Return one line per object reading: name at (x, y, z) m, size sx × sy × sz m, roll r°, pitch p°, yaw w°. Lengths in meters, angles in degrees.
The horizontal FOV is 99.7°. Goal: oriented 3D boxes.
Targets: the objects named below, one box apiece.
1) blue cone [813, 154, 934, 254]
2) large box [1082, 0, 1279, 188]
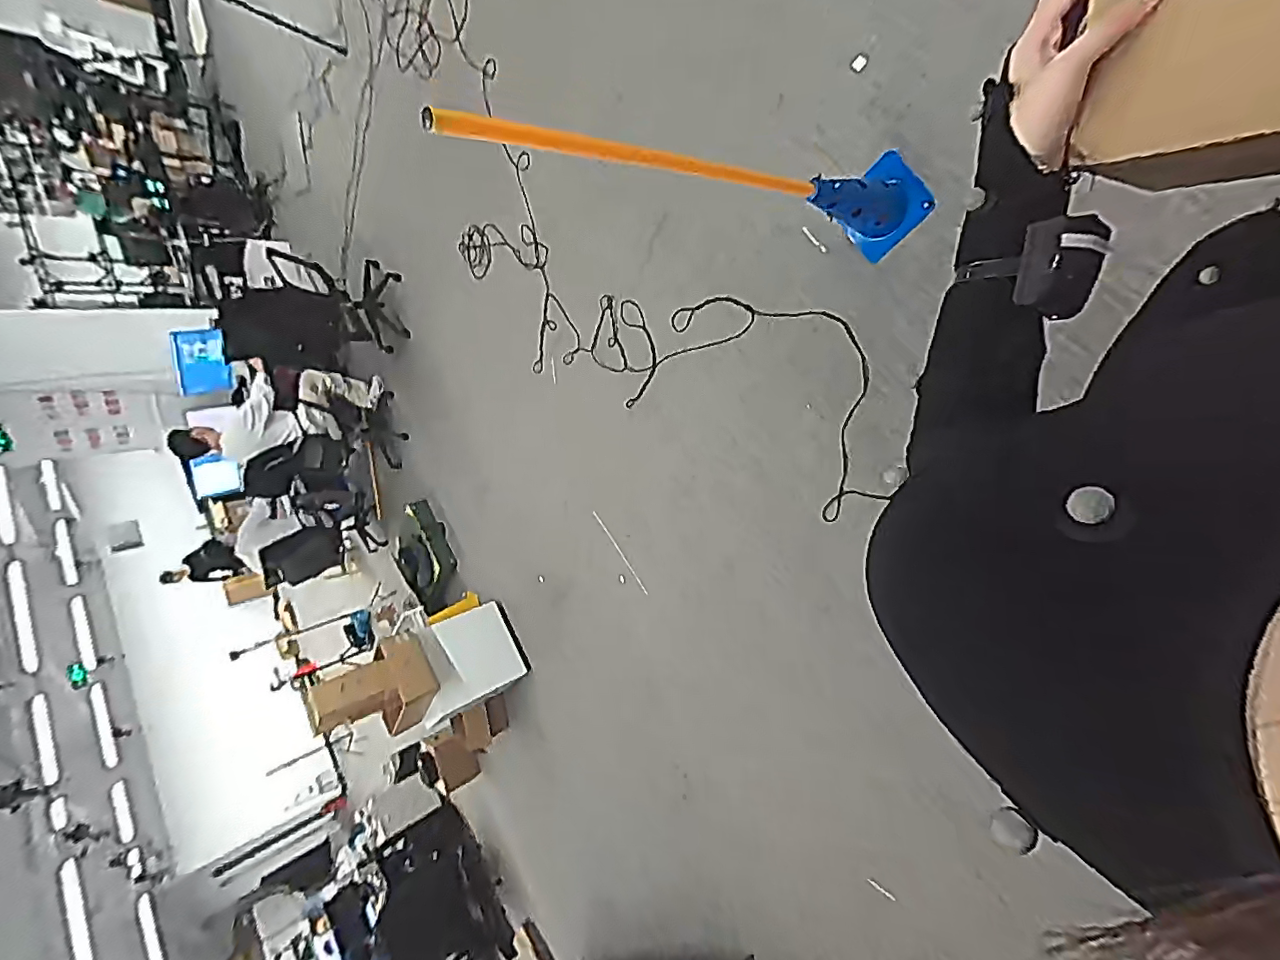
blue cone at (0.512, -0.676, 1.287) m, size 0.192 × 0.380 × 0.193 m, roll -40°, pitch 72°, yaw 45°
large box at (0.542, -0.384, 0.296) m, size 0.408 × 0.320 × 0.320 m, roll 14°, pitch 116°, yaw 46°
